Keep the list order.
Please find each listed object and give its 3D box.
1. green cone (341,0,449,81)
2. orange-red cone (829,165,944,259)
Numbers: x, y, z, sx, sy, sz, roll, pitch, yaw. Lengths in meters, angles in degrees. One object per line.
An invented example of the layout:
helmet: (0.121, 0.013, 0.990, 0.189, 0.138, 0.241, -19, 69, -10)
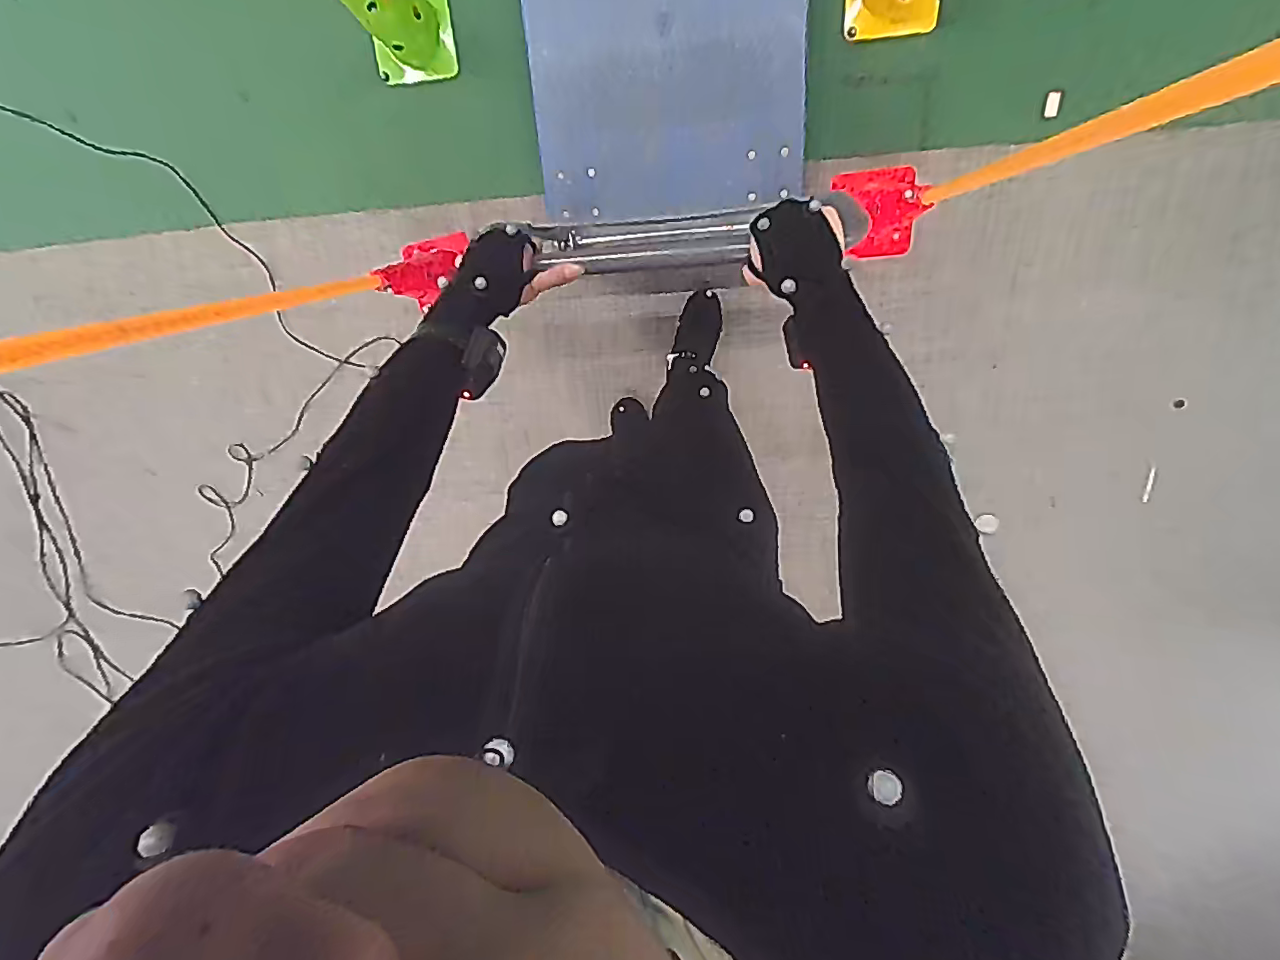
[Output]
green cone: (-0.568, -0.994, 1.095, 0.200, 0.368, 0.202, -2, 110, 7)
orange-red cone: (0.549, -0.589, 1.152, 0.198, 0.360, 0.199, -2, 109, 6)
